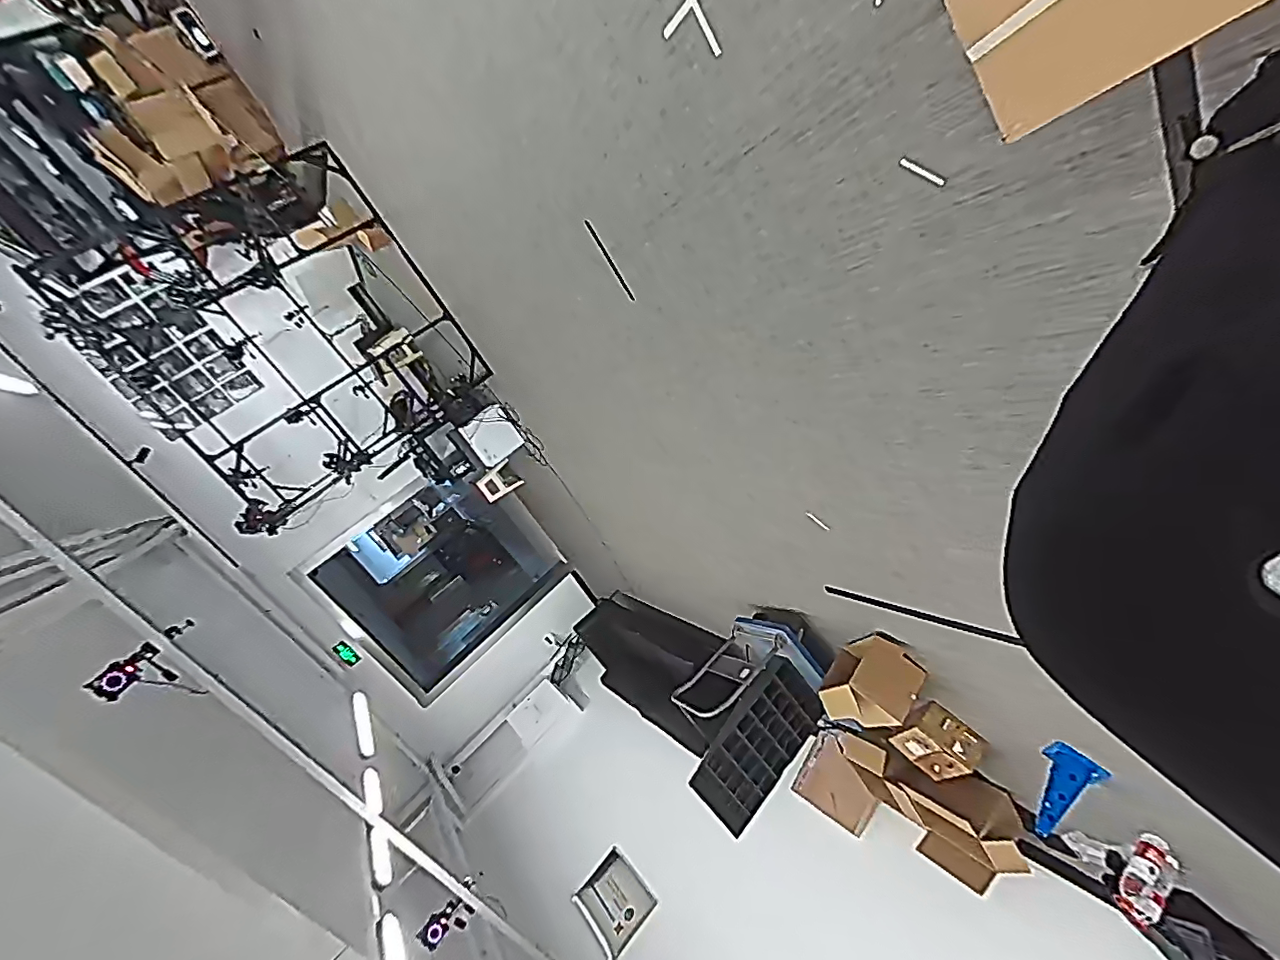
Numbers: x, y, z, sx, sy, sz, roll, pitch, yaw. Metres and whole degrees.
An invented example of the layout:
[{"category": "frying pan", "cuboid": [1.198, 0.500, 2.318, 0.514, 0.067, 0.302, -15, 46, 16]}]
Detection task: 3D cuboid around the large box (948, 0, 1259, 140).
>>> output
[{"category": "large box", "cuboid": [0.728, -0.793, 0.753, 0.320, 0.320, 0.408, 55, 159, -14]}]
